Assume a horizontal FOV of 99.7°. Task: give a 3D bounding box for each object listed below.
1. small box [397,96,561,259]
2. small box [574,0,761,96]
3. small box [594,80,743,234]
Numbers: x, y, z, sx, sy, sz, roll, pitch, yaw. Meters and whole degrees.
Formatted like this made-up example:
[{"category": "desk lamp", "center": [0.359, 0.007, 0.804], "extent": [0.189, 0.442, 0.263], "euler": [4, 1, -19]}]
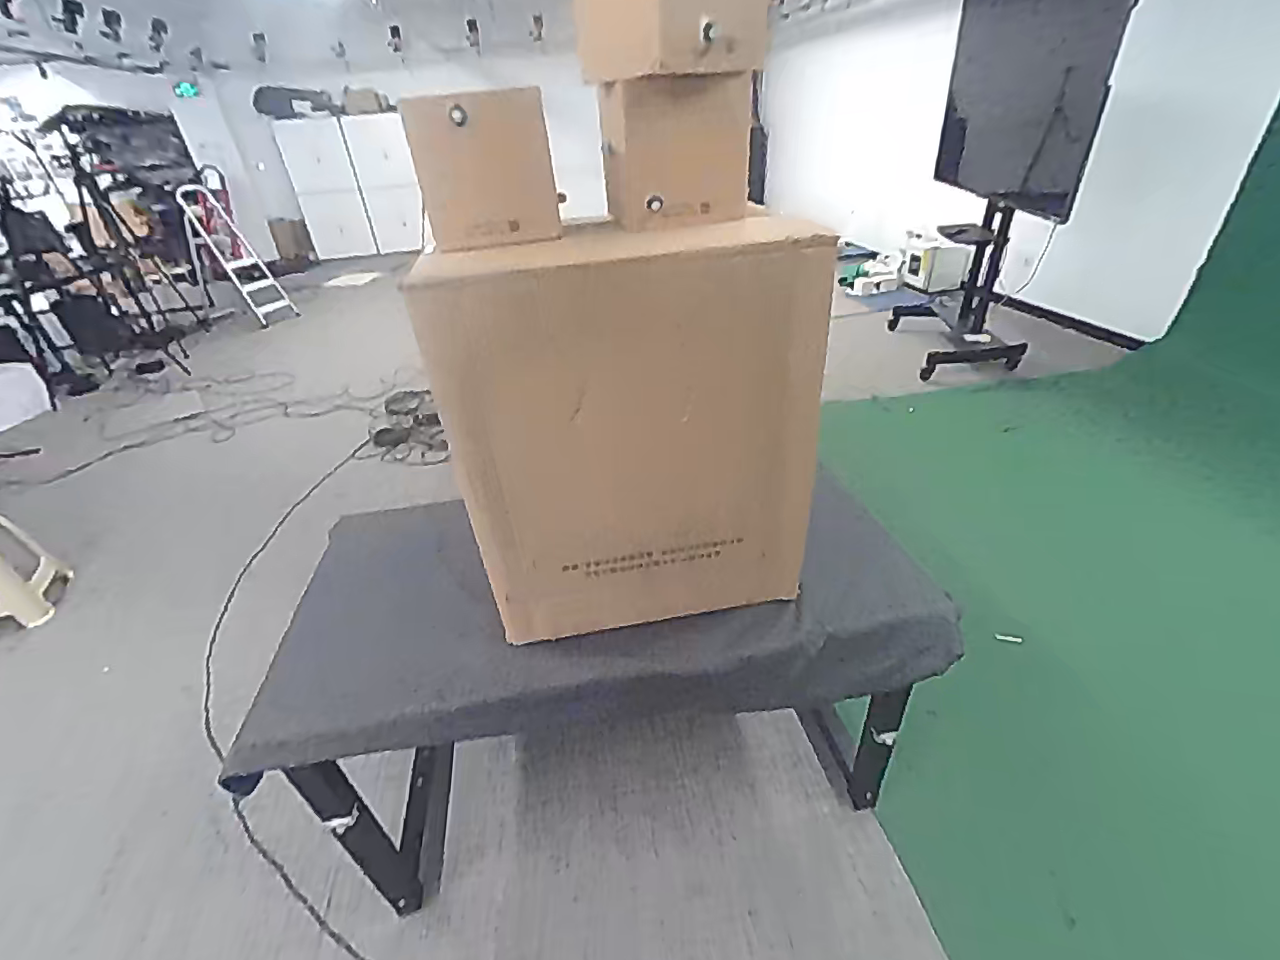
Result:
[{"category": "small box", "center": [-0.206, -0.410, 0.740], "extent": [0.168, 0.176, 0.179], "euler": [-11, 33, -5]}, {"category": "small box", "center": [0.028, -0.572, 0.651], "extent": [0.168, 0.176, 0.179], "euler": [-27, 41, -26]}, {"category": "small box", "center": [0.039, -0.454, 0.764], "extent": [0.168, 0.176, 0.179], "euler": [-12, 34, -9]}]
